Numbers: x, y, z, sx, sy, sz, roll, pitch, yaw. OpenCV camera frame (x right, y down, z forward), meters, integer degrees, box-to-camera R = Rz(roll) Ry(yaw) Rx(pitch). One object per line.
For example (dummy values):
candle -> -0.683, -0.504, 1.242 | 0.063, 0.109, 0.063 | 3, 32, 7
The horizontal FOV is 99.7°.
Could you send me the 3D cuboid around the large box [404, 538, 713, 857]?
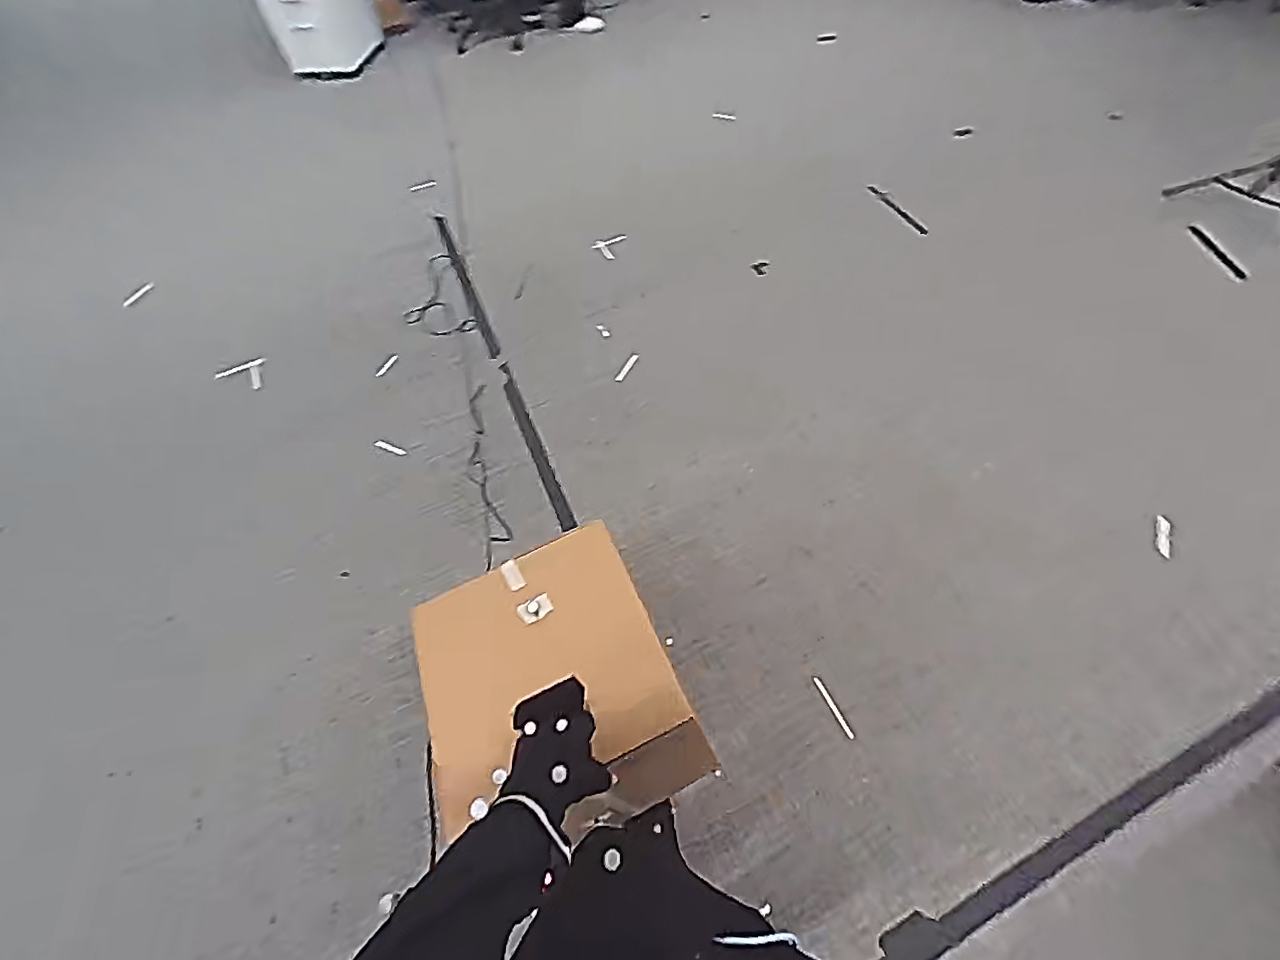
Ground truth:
large box -> -0.110, 0.359, 0.869 | 0.320, 0.408, 0.320 | -27, 54, -5
